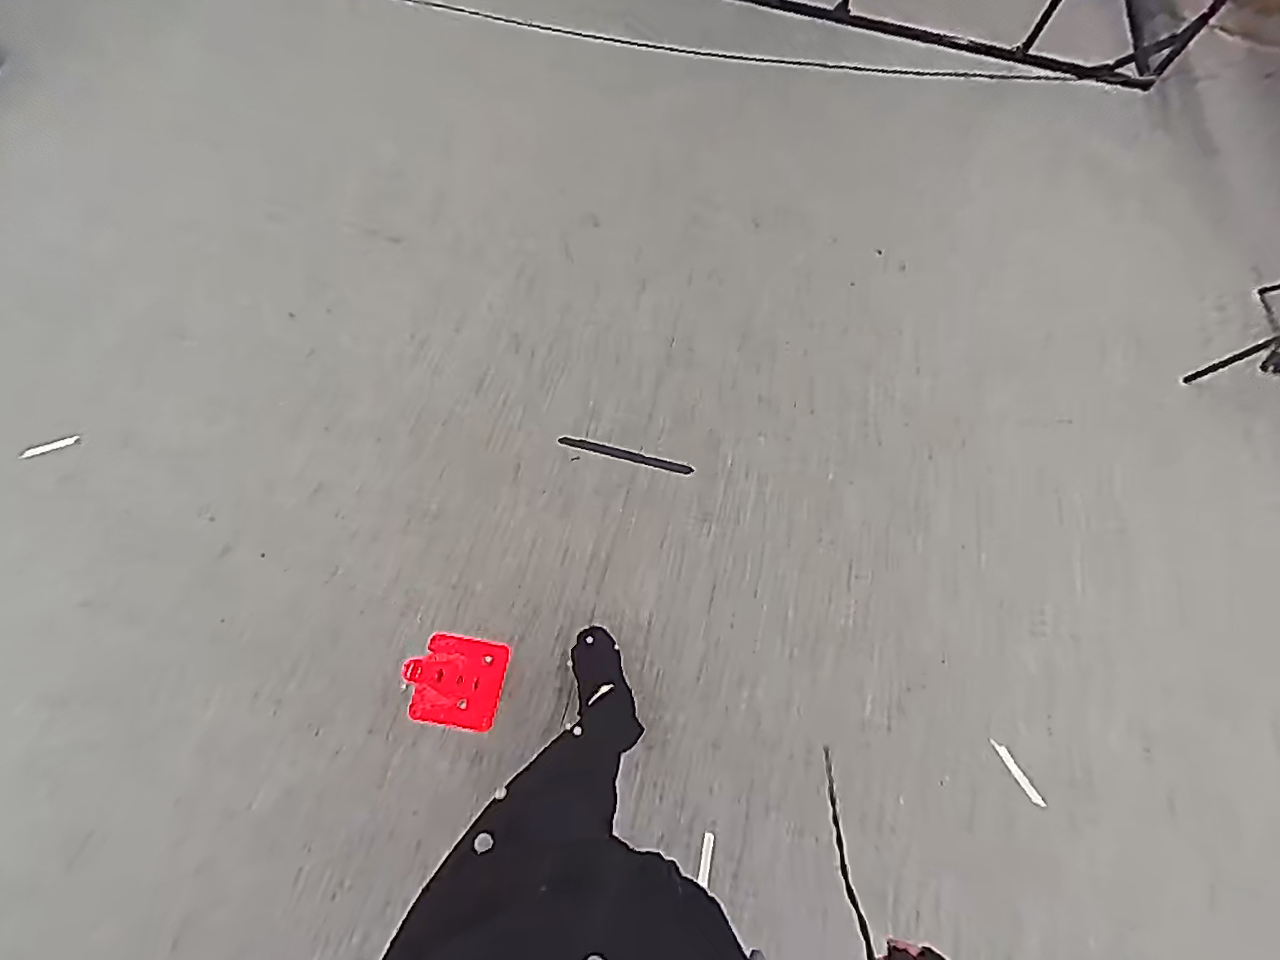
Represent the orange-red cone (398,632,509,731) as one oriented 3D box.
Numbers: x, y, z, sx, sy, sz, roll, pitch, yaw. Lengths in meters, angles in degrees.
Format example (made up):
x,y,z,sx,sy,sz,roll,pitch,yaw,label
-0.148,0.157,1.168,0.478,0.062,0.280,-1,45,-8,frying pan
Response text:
x,y,z,sx,sy,sz,roll,pitch,yaw,label
-0.418,0.399,1.112,0.199,0.360,0.198,11,66,3,orange-red cone
